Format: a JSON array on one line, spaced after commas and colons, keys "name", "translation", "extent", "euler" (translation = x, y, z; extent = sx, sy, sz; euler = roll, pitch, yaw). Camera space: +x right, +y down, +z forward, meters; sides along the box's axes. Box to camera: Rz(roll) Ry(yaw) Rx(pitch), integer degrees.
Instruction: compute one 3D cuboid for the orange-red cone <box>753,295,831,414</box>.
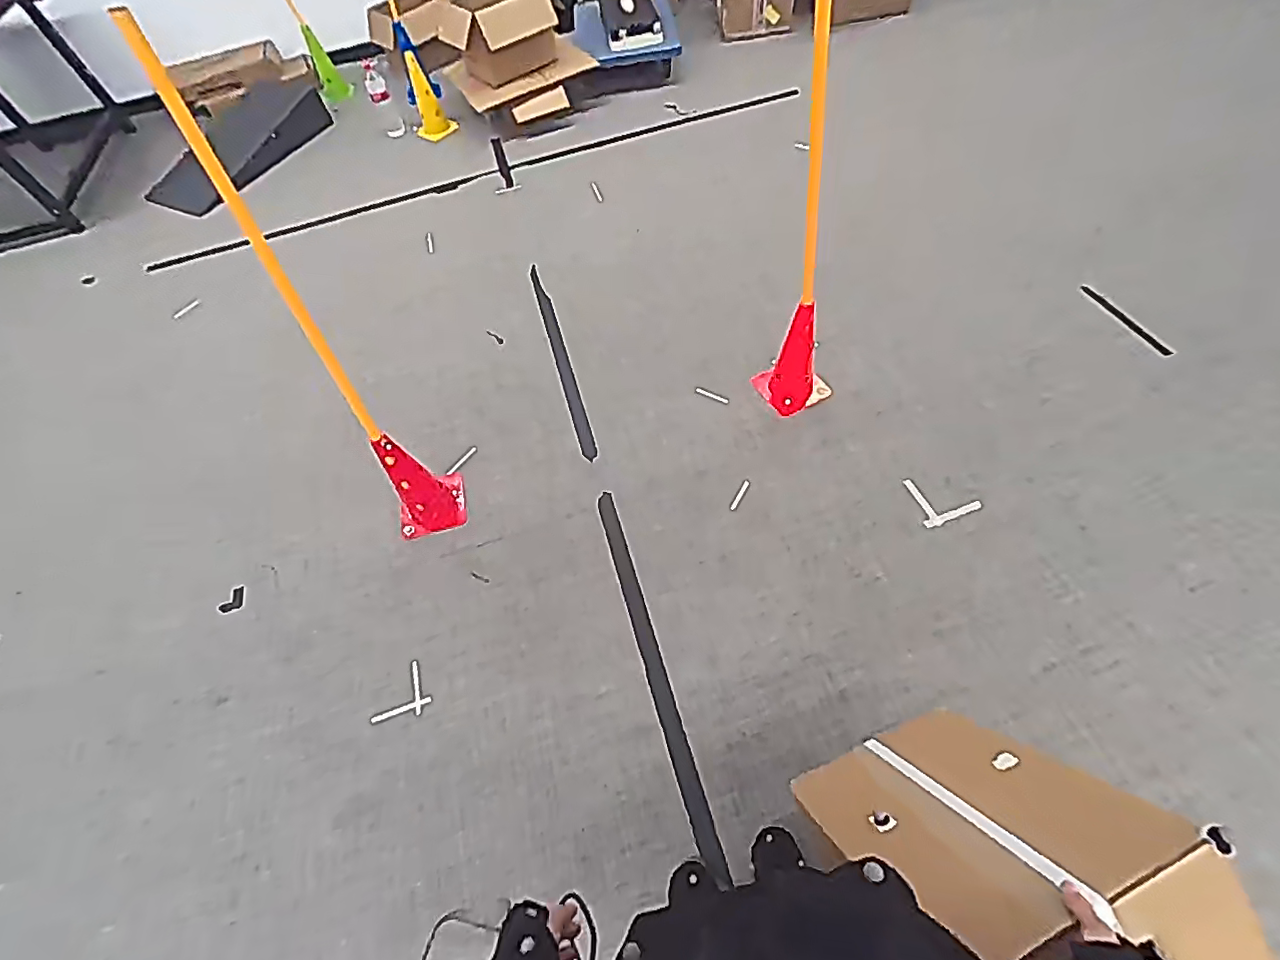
[{"name": "orange-red cone", "translation": [0.483, -0.403, 1.632], "extent": [0.199, 0.360, 0.198], "euler": [-24, 59, -10]}]
